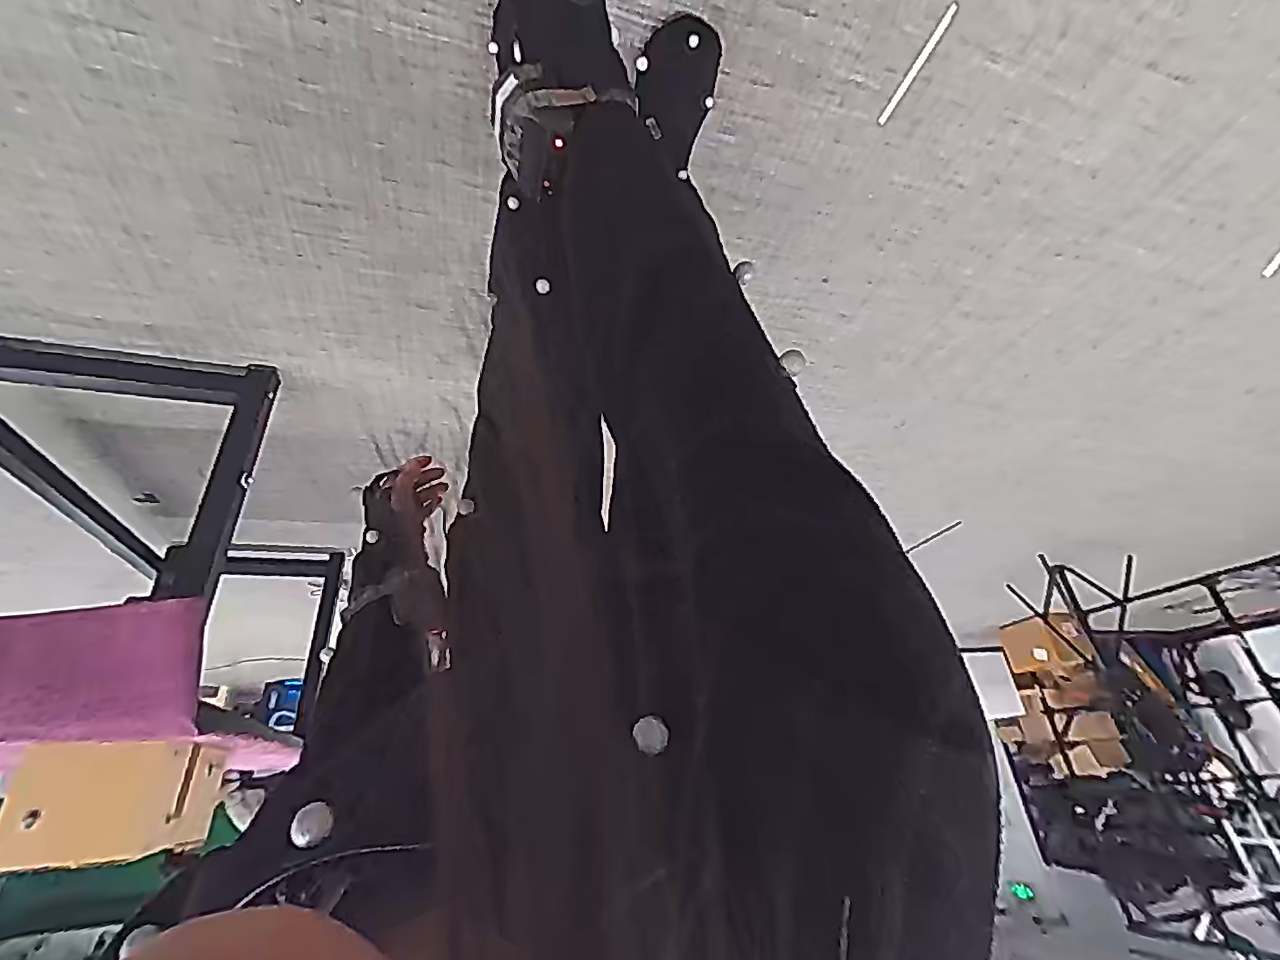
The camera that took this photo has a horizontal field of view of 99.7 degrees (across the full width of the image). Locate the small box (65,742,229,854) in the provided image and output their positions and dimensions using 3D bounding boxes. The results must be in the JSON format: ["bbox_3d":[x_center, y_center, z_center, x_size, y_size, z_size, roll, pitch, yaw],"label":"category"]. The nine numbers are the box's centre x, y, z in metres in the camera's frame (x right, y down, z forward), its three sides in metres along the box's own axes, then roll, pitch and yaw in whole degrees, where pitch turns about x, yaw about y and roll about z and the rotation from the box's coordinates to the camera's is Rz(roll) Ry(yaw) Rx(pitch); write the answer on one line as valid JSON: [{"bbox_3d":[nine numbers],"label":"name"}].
[{"bbox_3d":[-0.943,0.612,1.056,0.168,0.176,0.179,4,150,-18],"label":"small box"}]
